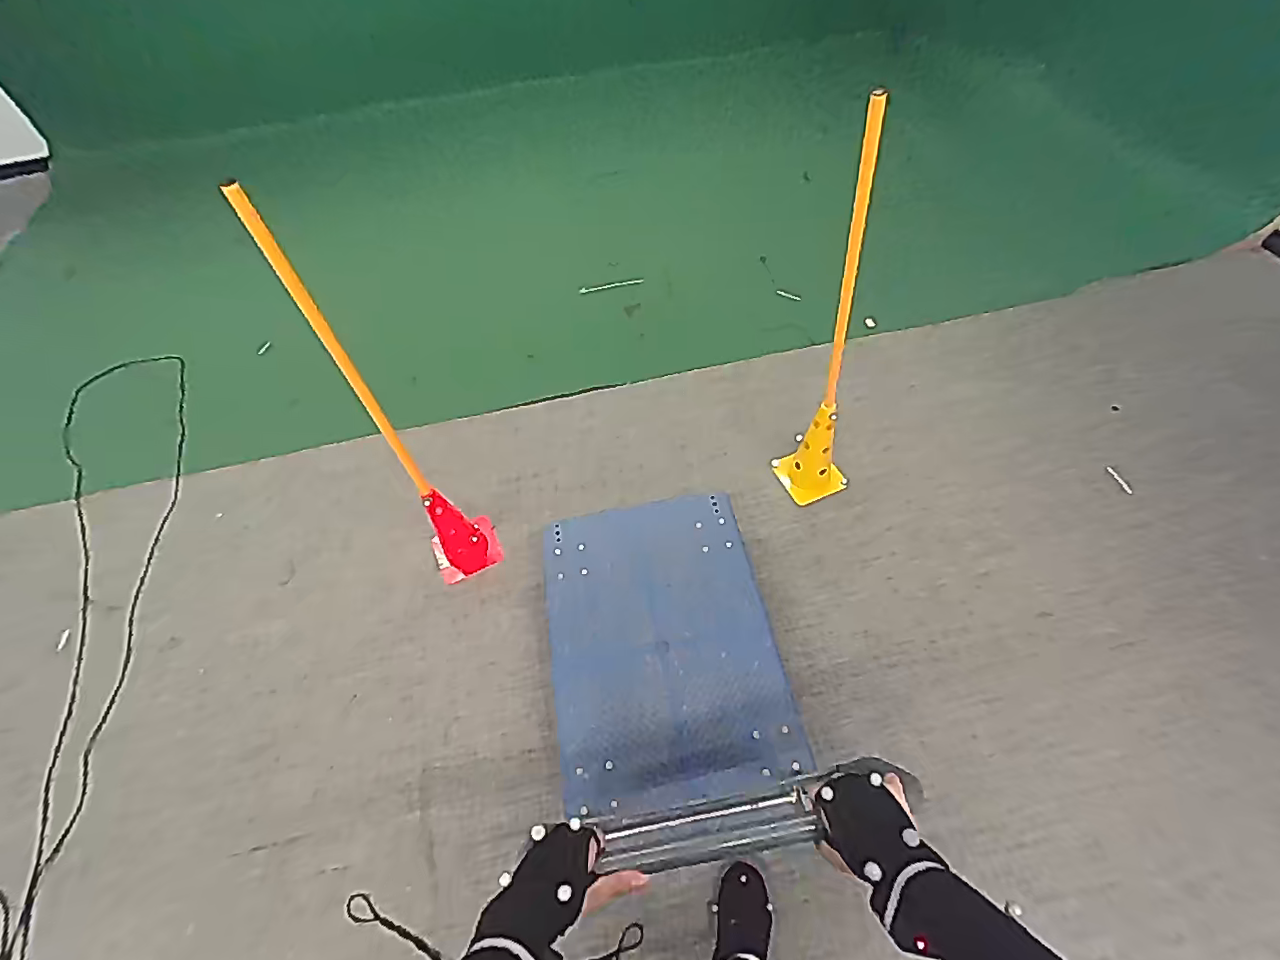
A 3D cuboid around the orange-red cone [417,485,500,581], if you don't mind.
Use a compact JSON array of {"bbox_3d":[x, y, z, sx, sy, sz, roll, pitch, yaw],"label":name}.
[{"bbox_3d":[-0.590,0.127,1.648,0.199,0.360,0.198,-25,57,-11],"label":"orange-red cone"}]
